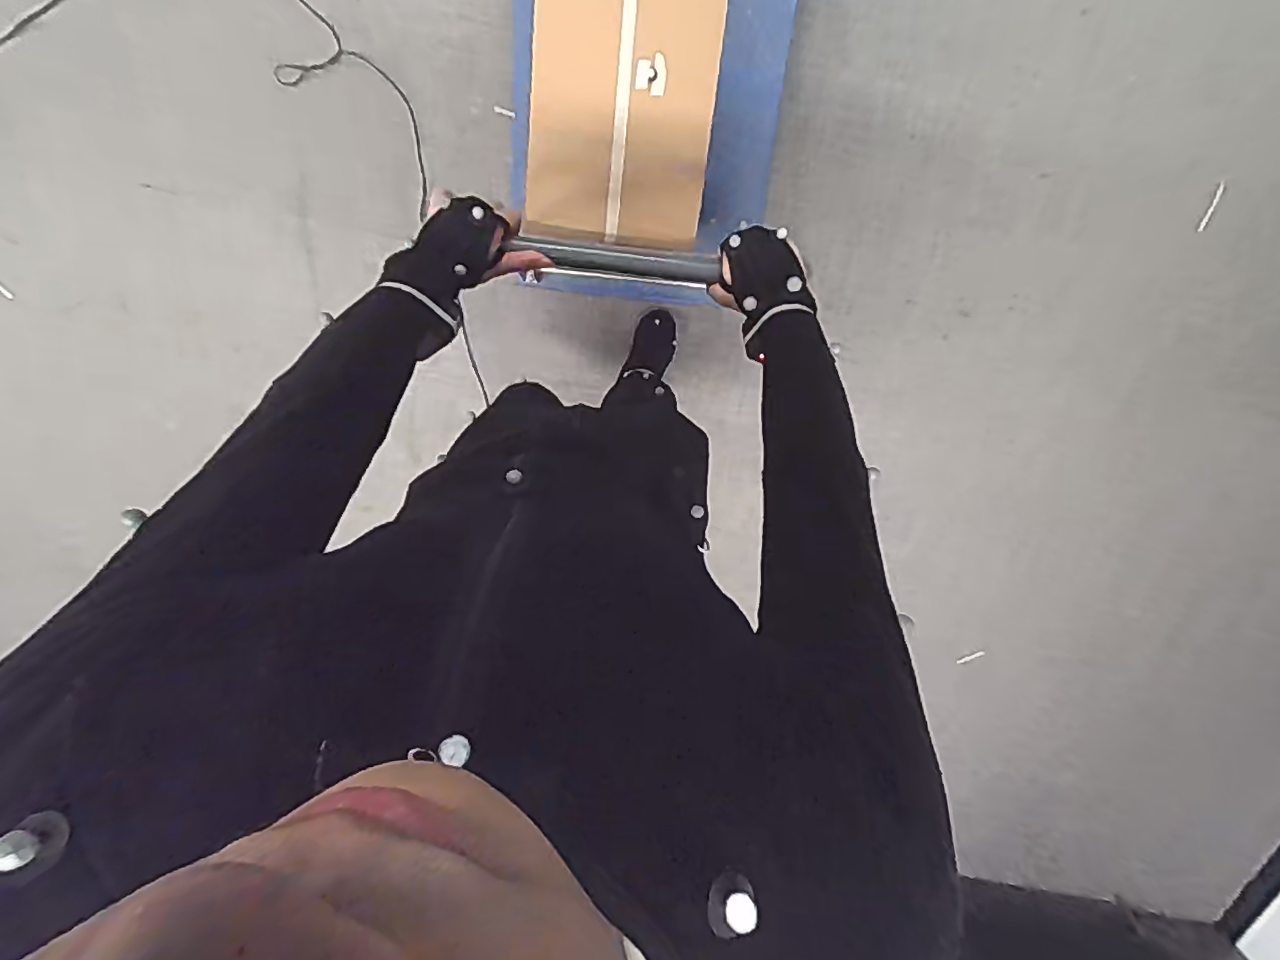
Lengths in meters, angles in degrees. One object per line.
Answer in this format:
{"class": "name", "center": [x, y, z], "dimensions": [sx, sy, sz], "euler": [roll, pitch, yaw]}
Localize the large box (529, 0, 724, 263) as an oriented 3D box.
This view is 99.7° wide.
{"class": "large box", "center": [-0.028, -0.665, 1.074], "dimensions": [0.320, 0.320, 0.408], "euler": [6, 108, -1]}
